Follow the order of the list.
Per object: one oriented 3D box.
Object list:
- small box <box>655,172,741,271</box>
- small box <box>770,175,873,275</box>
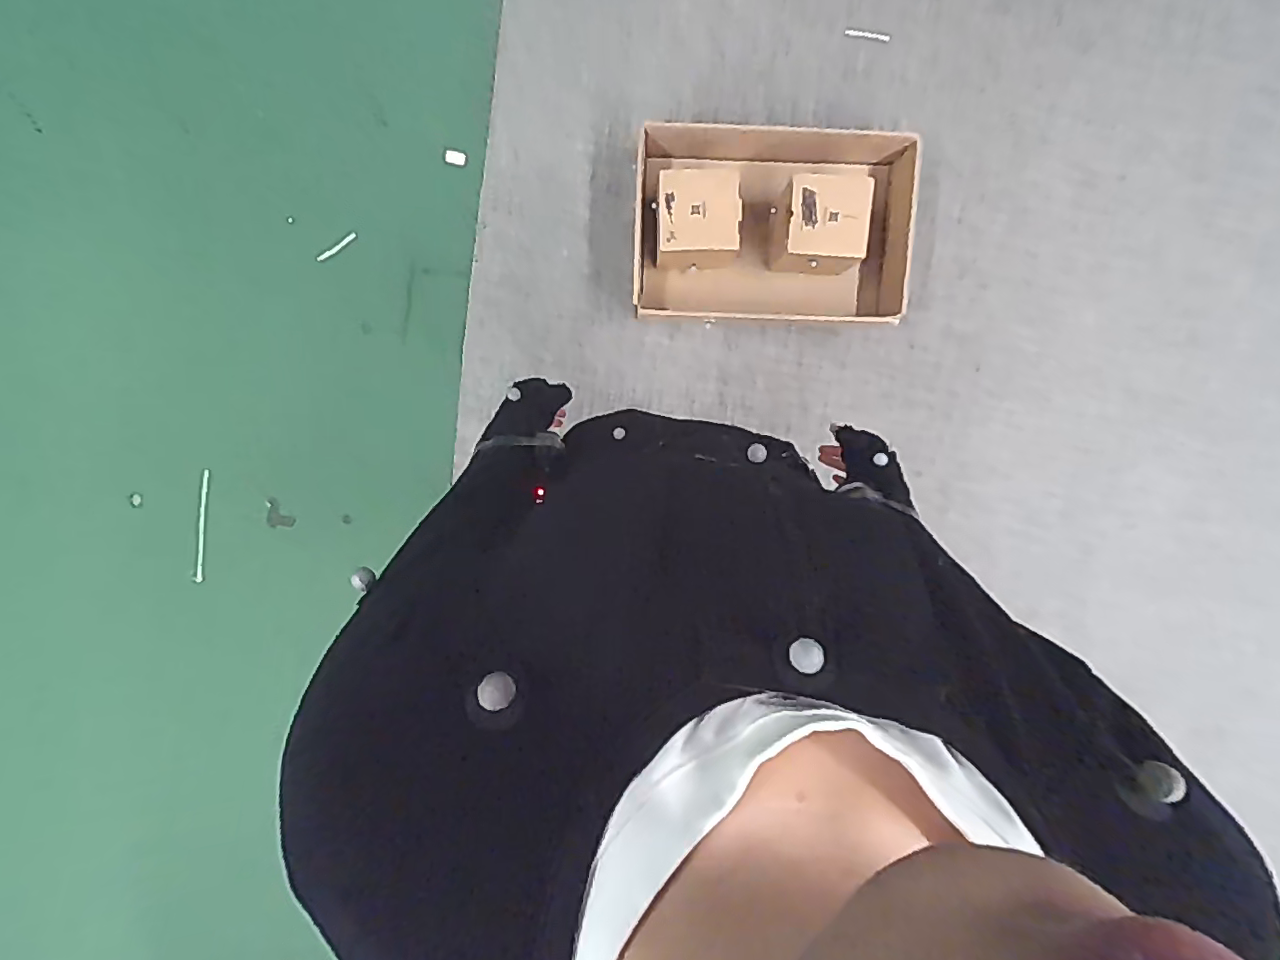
[{"bbox_3d":[0.127,-0.588,1.244,0.179,0.176,0.168,-1,98,-2],"label":"small box"},{"bbox_3d":[0.408,-0.579,1.246,0.179,0.176,0.168,4,99,0],"label":"small box"}]
